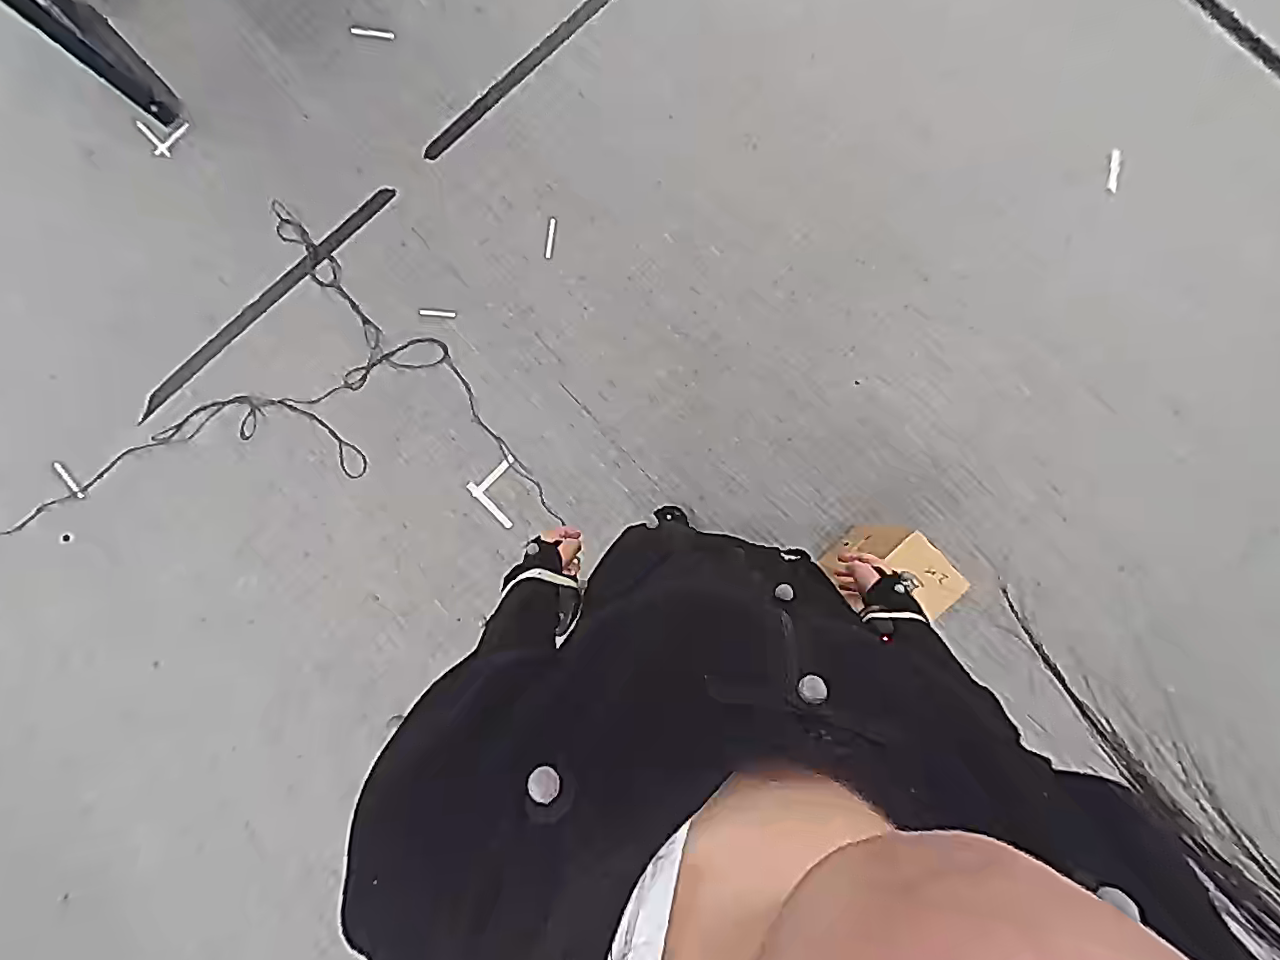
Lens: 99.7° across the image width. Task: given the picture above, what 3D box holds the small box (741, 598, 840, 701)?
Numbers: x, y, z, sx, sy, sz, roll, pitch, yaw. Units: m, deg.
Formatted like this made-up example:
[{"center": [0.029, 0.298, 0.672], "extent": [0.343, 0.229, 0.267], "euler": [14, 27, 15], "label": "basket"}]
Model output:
[{"center": [0.378, 0.430, 1.401], "extent": [0.179, 0.176, 0.168], "euler": [-43, 86, -1], "label": "small box"}]

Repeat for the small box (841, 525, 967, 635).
[{"center": [0.585, 0.220, 1.235], "extent": [0.179, 0.176, 0.168], "euler": [-42, 87, 0], "label": "small box"}]
